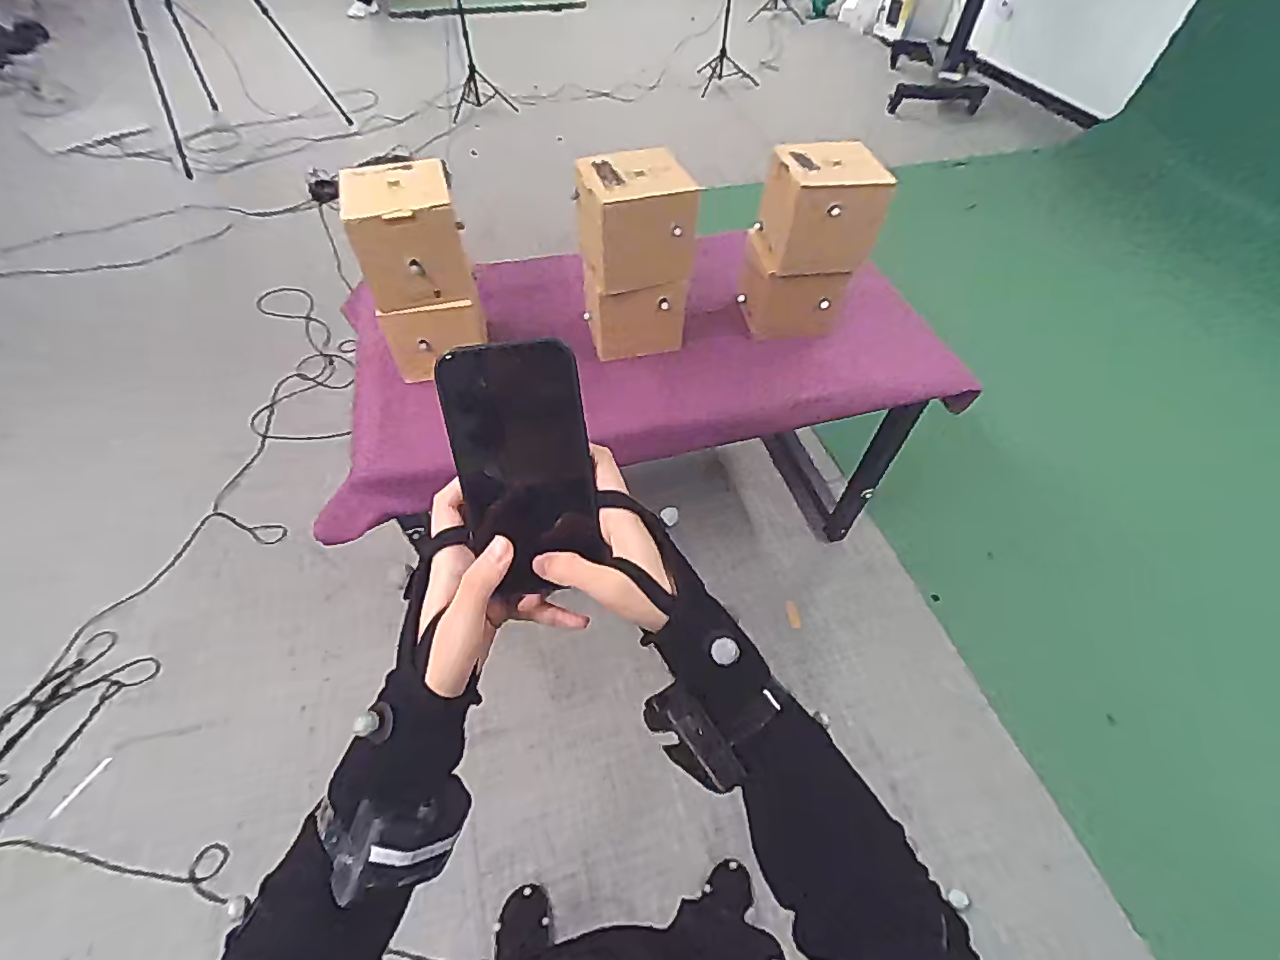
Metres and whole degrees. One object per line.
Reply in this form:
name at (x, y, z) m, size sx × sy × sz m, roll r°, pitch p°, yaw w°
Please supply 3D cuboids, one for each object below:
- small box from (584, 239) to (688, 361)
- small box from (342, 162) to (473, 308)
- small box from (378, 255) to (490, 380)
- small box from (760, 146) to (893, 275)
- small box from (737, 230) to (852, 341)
small box at (-0.014, -0.367, 1.114) m, size 0.179 × 0.176 × 0.168 m, roll -10°, pitch 54°, yaw -9°
small box at (-0.398, -0.418, 0.941) m, size 0.168 × 0.176 × 0.179 m, roll -14°, pitch 55°, yaw -12°
small box at (-0.398, -0.313, 1.068) m, size 0.168 × 0.176 × 0.179 m, roll -10°, pitch 54°, yaw -8°
small box at (0.335, -0.504, 1.021) m, size 0.179 × 0.176 × 0.168 m, roll -5°, pitch 53°, yaw -6°
small box at (0.320, -0.416, 1.159) m, size 0.179 × 0.176 × 0.168 m, roll -5°, pitch 53°, yaw -5°
